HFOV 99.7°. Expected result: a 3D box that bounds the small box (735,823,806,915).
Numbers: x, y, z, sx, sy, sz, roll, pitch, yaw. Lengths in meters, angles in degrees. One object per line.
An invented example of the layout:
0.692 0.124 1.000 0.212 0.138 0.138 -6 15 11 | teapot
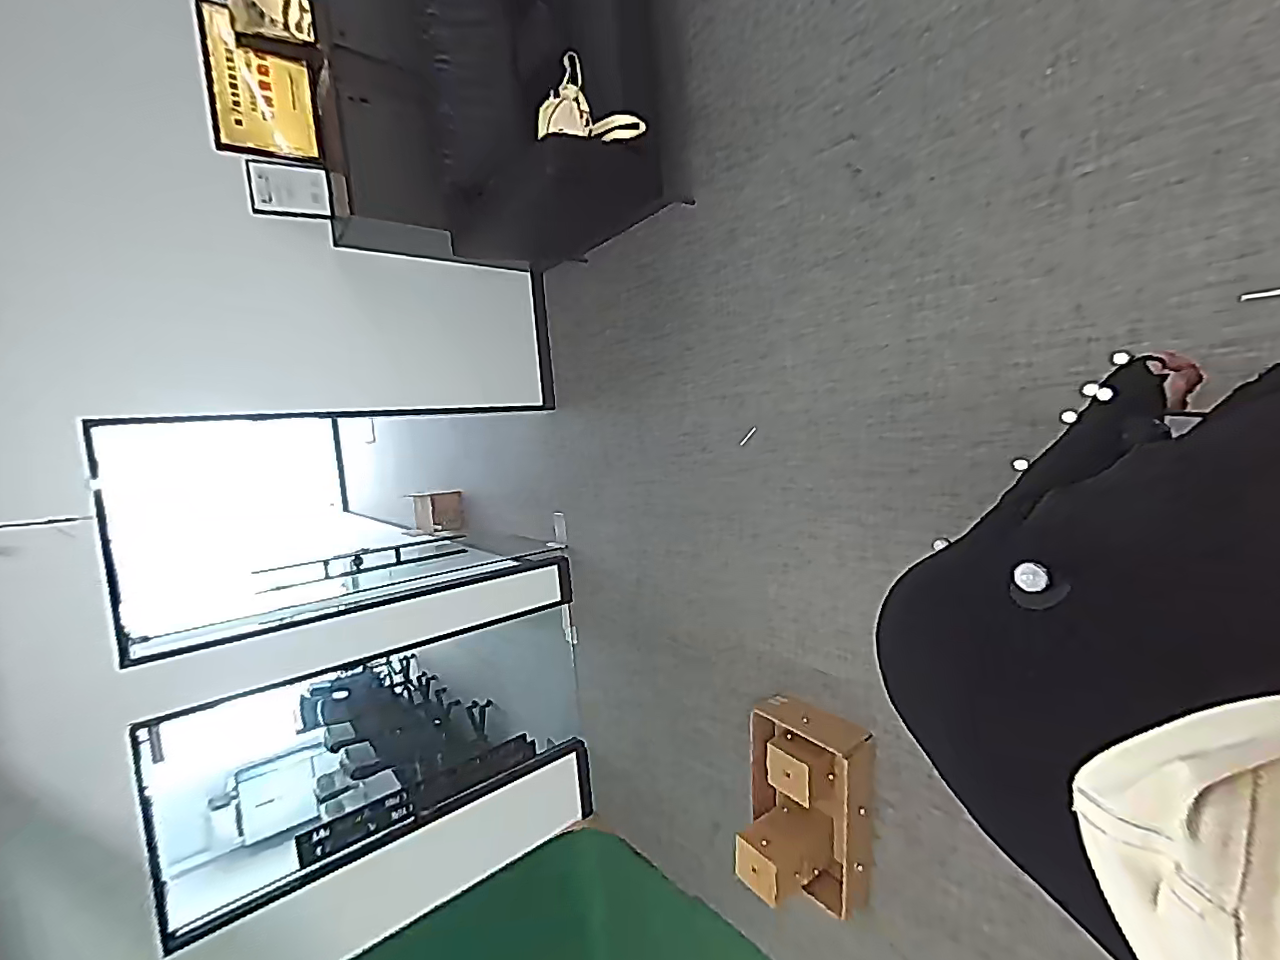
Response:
0.451 1.333 1.872 0.179 0.176 0.168 8 102 51 | small box

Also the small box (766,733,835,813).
0.573 1.034 1.930 0.179 0.176 0.168 7 103 50 | small box
